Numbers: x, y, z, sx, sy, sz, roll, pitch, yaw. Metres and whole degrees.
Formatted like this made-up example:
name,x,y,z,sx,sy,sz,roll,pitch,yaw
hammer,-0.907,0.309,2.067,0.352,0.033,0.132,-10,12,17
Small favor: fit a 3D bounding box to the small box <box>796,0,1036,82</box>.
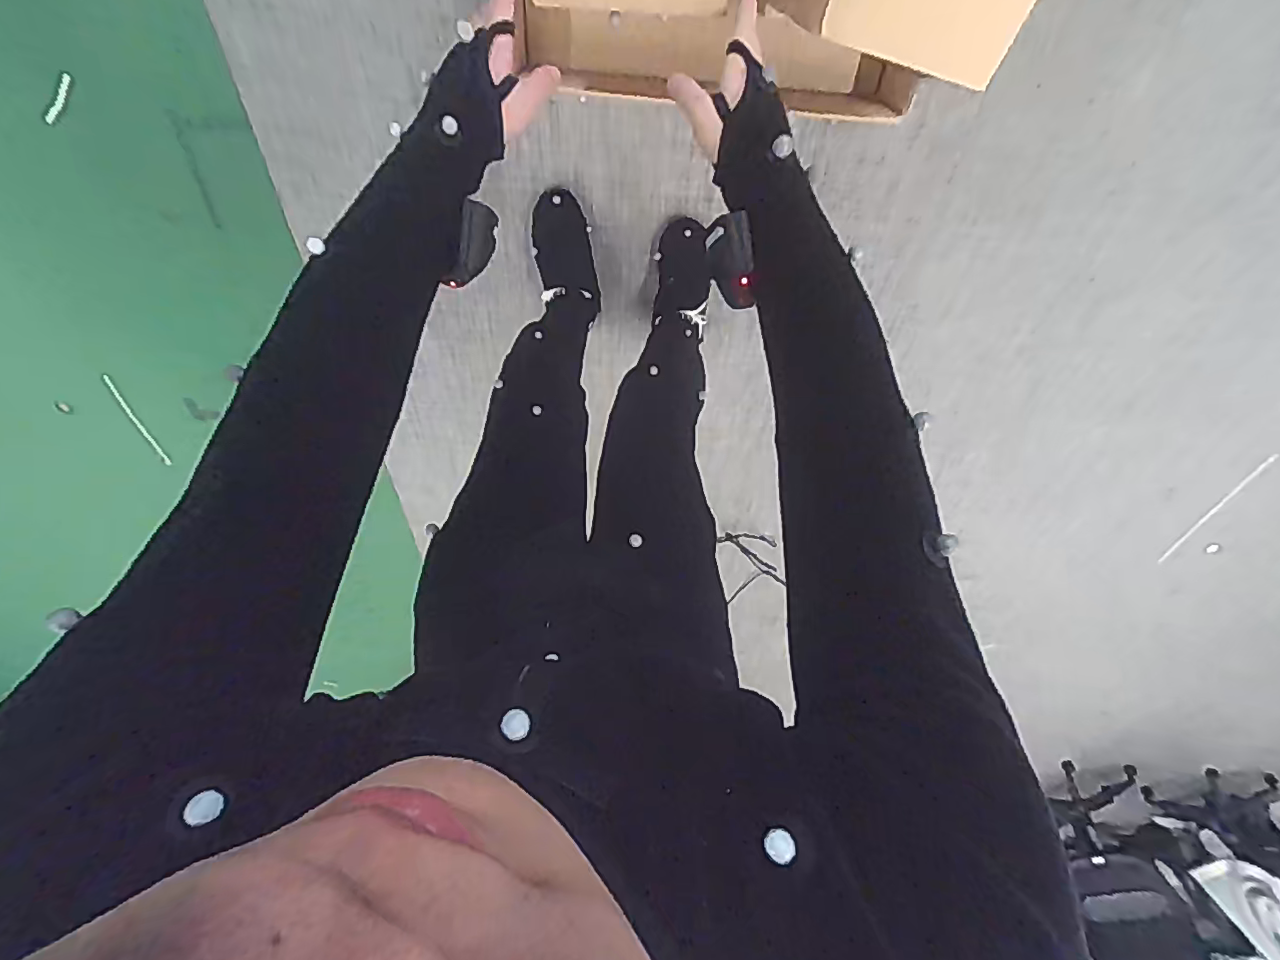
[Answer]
name,x,y,z,sx,sy,sz,roll,pitch,yaw
small box,0.264,-0.498,0.490,0.179,0.176,0.168,12,134,-8
